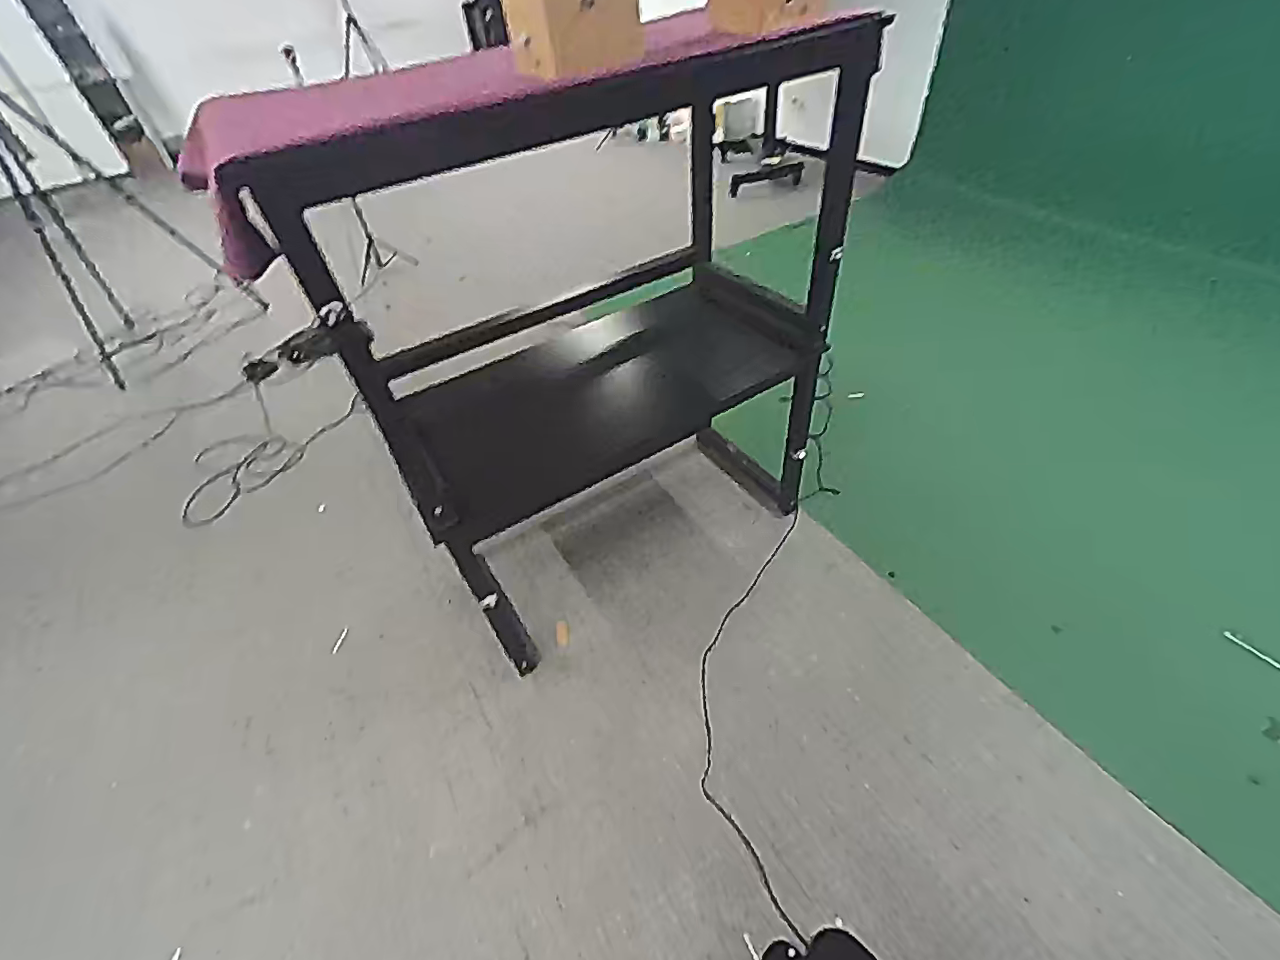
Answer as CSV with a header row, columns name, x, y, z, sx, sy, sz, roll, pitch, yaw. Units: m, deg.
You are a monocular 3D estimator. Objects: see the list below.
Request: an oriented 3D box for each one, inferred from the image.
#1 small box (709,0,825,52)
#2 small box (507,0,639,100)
name,x,y,z,sx,sy,sz,roll,pitch,yaw
small box,0.245,-0.959,1.061,0.168,0.176,0.179,-27,48,-18
small box,-0.112,-0.767,0.914,0.179,0.176,0.168,-27,46,-17
